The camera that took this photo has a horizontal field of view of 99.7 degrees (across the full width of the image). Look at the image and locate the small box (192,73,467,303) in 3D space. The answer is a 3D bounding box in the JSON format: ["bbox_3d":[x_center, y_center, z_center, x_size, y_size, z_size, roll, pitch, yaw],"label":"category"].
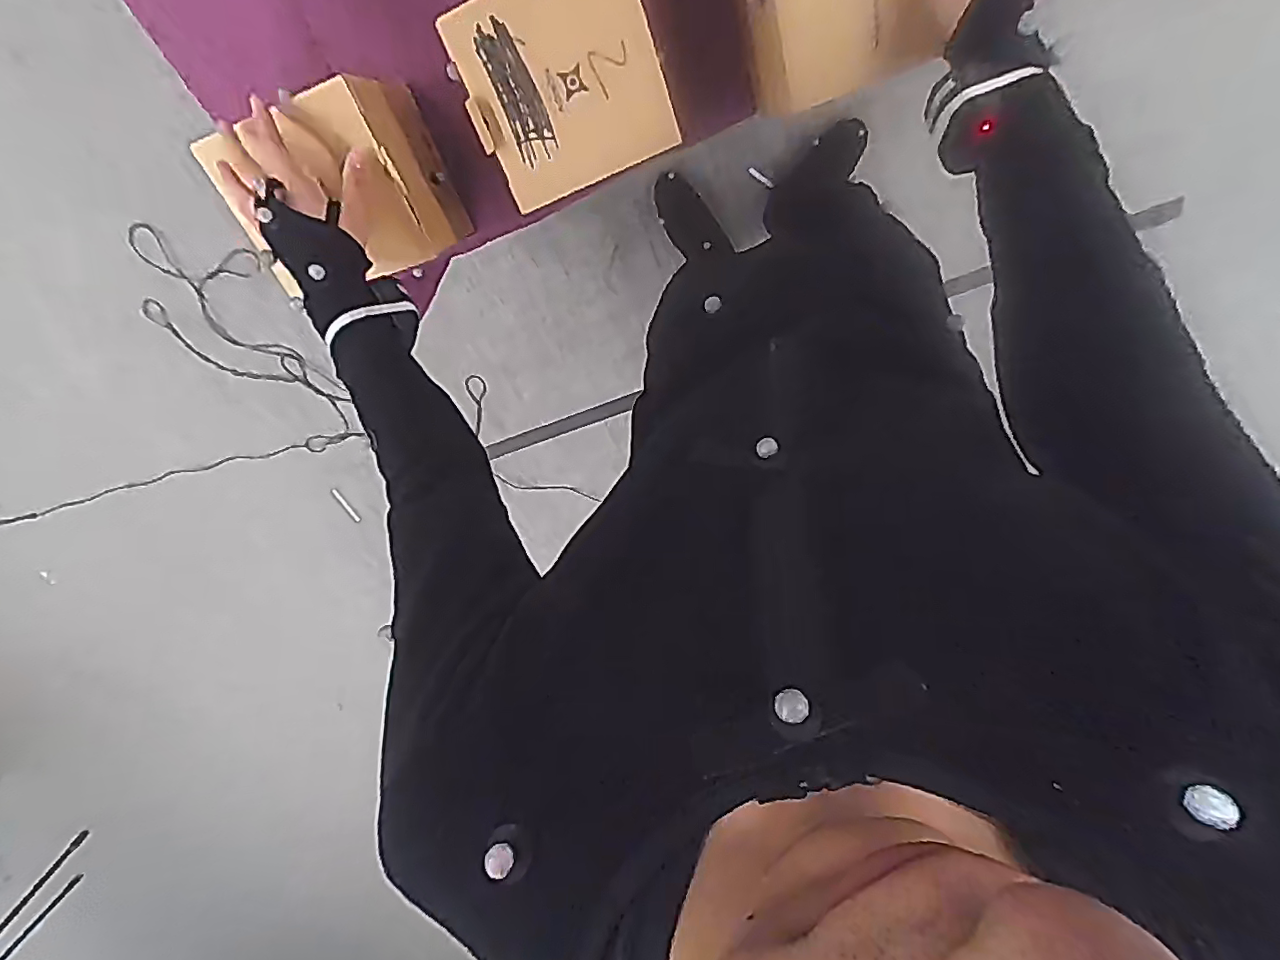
[{"bbox_3d":[-0.325,-0.324,0.611,0.179,0.176,0.168,-17,121,9],"label":"small box"}]
